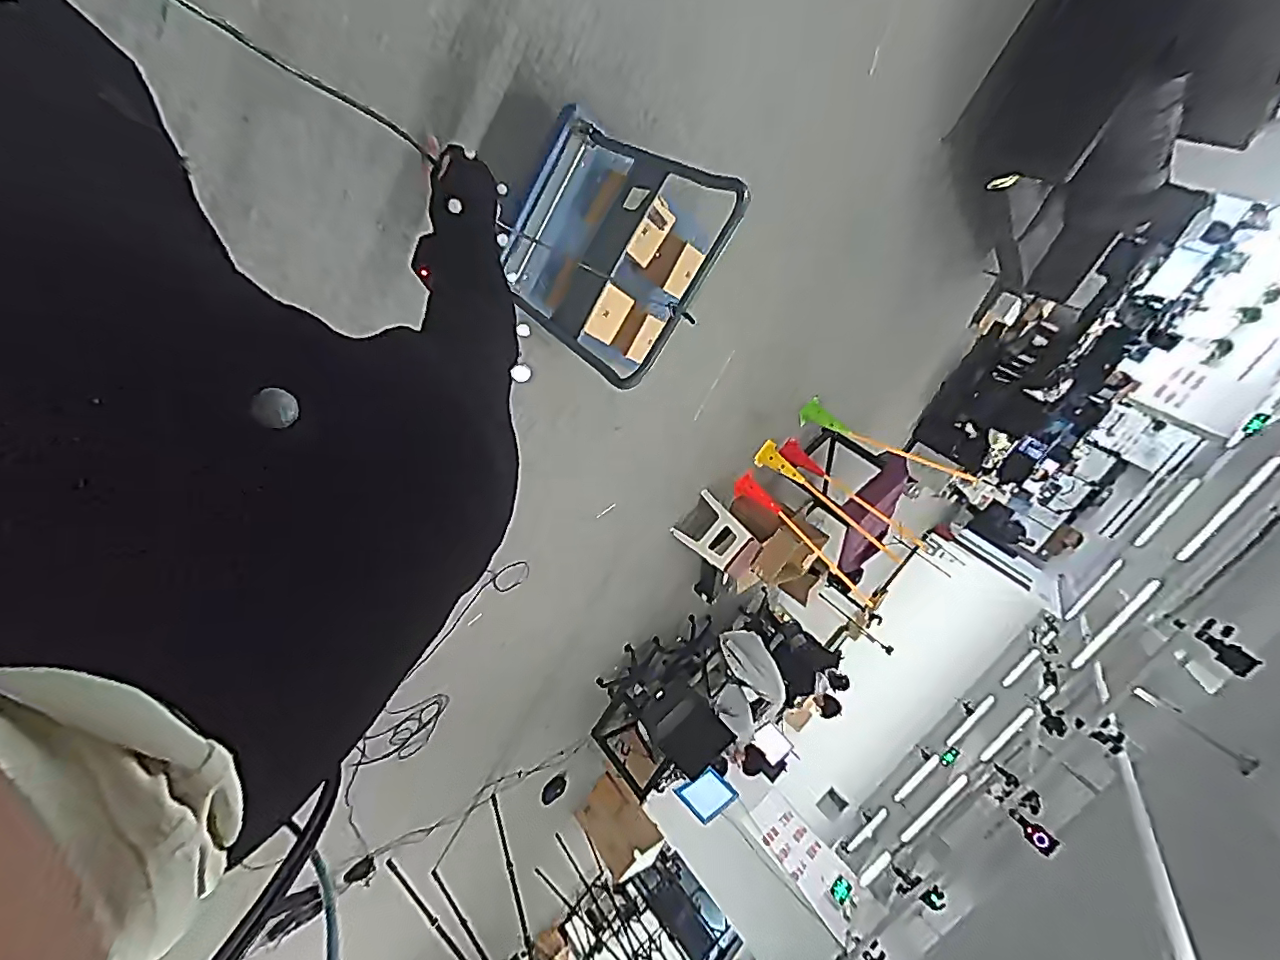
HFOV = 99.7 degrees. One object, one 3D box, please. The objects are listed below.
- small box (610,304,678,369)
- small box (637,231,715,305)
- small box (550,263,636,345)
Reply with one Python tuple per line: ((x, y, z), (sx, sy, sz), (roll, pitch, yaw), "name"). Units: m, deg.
((-0.004, -0.527, 1.949), (0.179, 0.176, 0.168), (10, 115, -52), "small box")
((0.121, -0.740, 1.878), (0.179, 0.176, 0.168), (6, 119, -52), "small box")
((-0.153, -0.567, 1.734), (0.179, 0.176, 0.168), (14, 113, -54), "small box")
